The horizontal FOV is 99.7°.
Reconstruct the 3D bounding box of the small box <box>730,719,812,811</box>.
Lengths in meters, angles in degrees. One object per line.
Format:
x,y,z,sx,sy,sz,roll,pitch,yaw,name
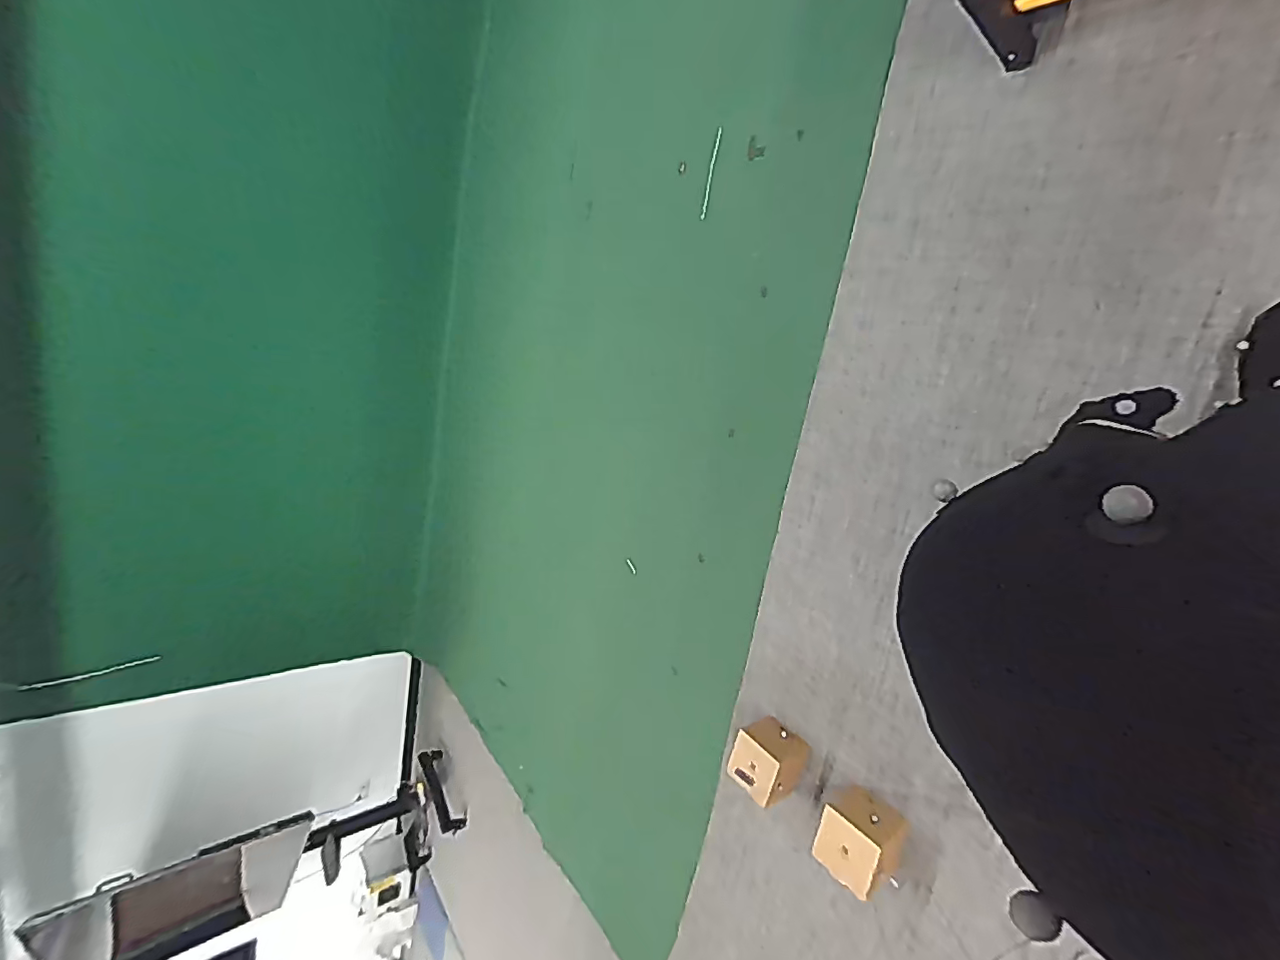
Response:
0.420,0.903,1.726,0.168,0.176,0.179,29,110,47,small box

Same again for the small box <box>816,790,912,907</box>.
0.618,0.998,1.486,0.168,0.176,0.179,23,108,48,small box
